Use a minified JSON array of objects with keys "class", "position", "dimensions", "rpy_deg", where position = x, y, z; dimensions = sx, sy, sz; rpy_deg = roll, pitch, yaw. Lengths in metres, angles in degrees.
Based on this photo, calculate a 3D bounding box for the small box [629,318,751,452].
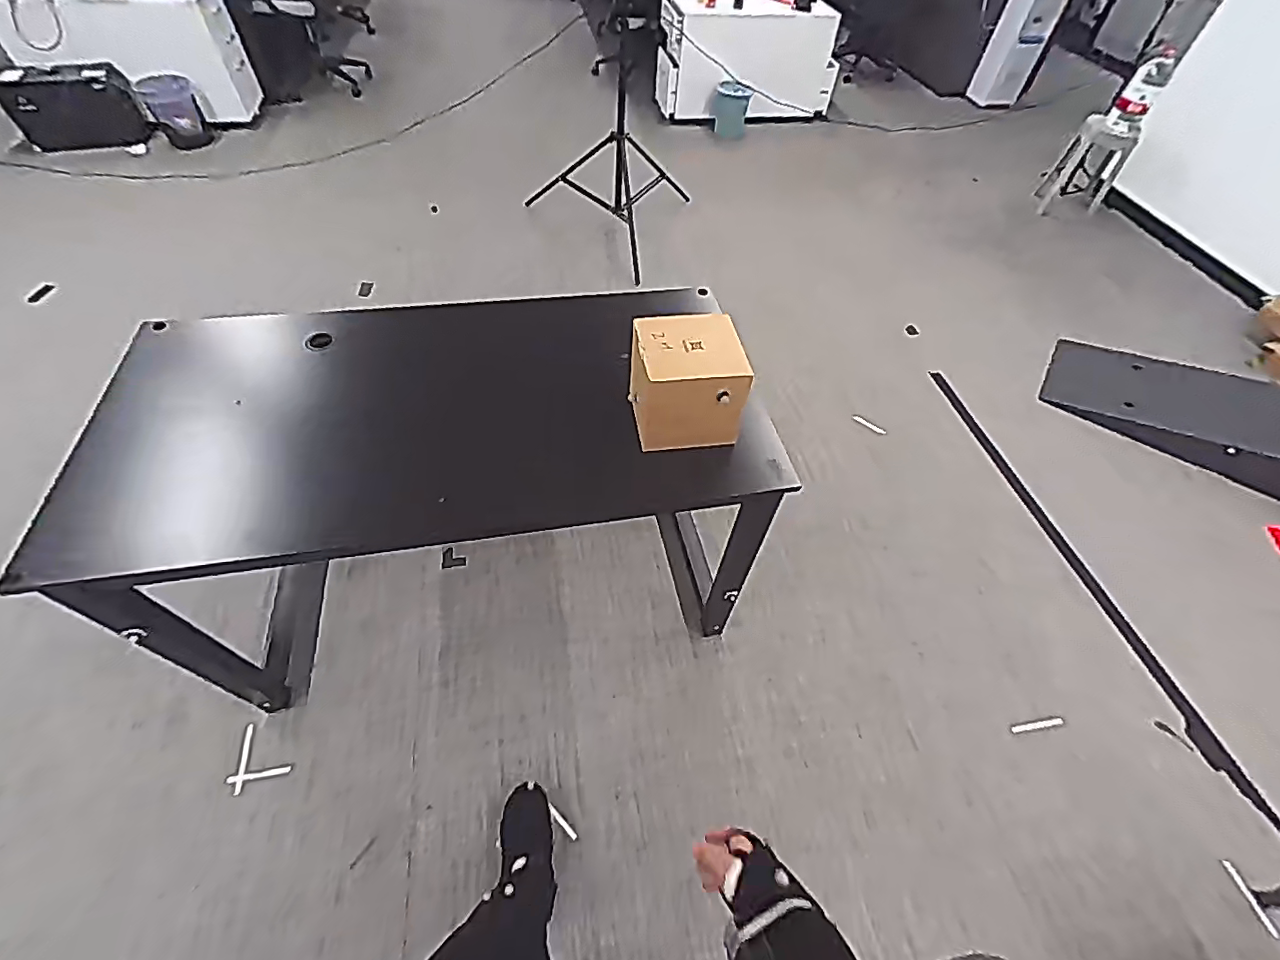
[{"class":"small box","position":[0.079,-0.167,0.967],"dimensions":[0.179,0.176,0.168],"rpy_deg":[-6,52,-7]}]
